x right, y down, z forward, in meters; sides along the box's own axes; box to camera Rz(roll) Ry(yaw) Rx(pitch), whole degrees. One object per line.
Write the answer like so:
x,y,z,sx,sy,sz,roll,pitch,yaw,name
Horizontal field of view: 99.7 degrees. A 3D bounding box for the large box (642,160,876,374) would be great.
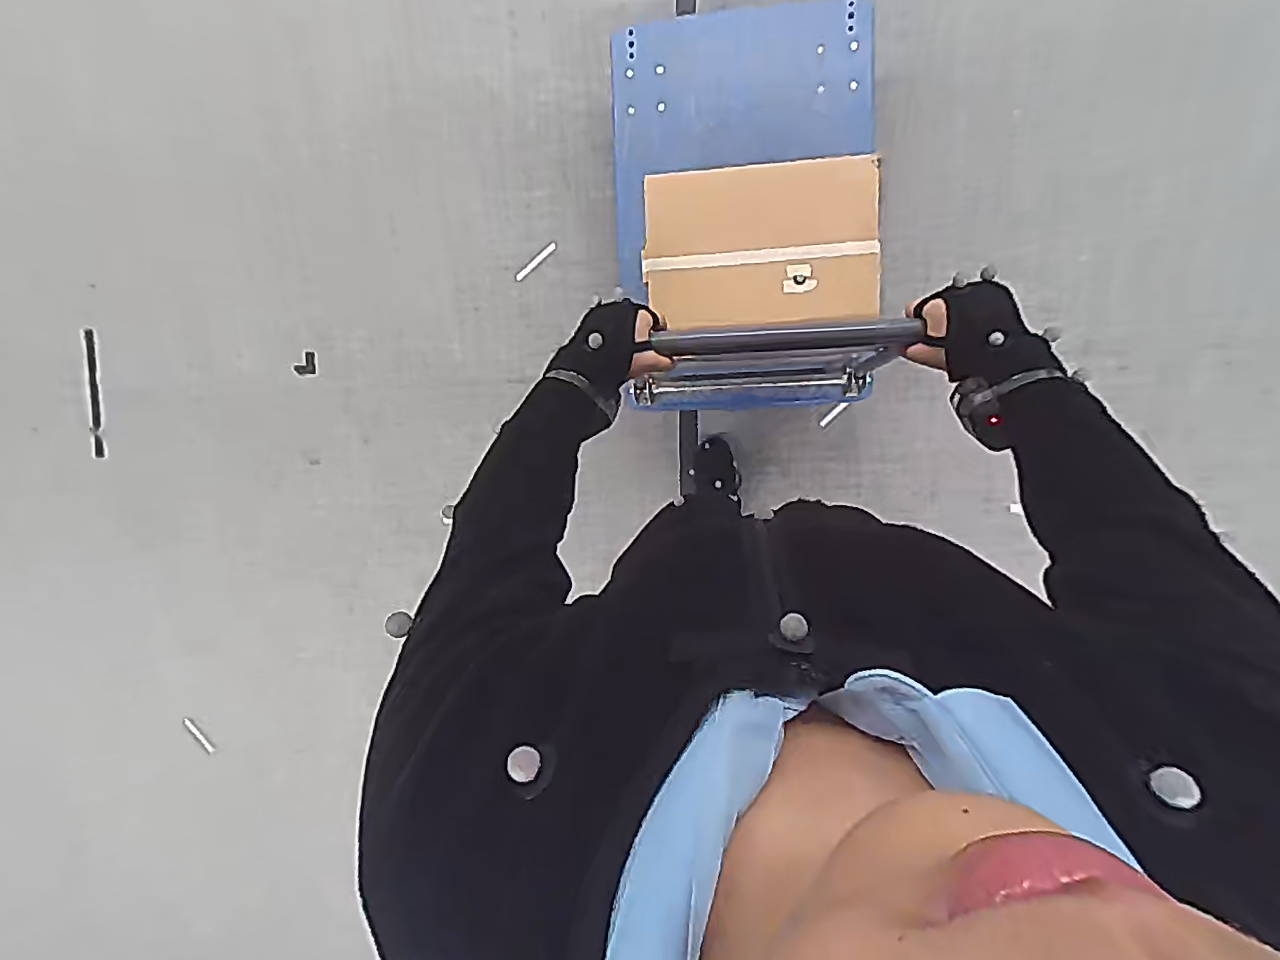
0.223,-0.399,1.103,0.408,0.320,0.320,-2,96,6,large box
